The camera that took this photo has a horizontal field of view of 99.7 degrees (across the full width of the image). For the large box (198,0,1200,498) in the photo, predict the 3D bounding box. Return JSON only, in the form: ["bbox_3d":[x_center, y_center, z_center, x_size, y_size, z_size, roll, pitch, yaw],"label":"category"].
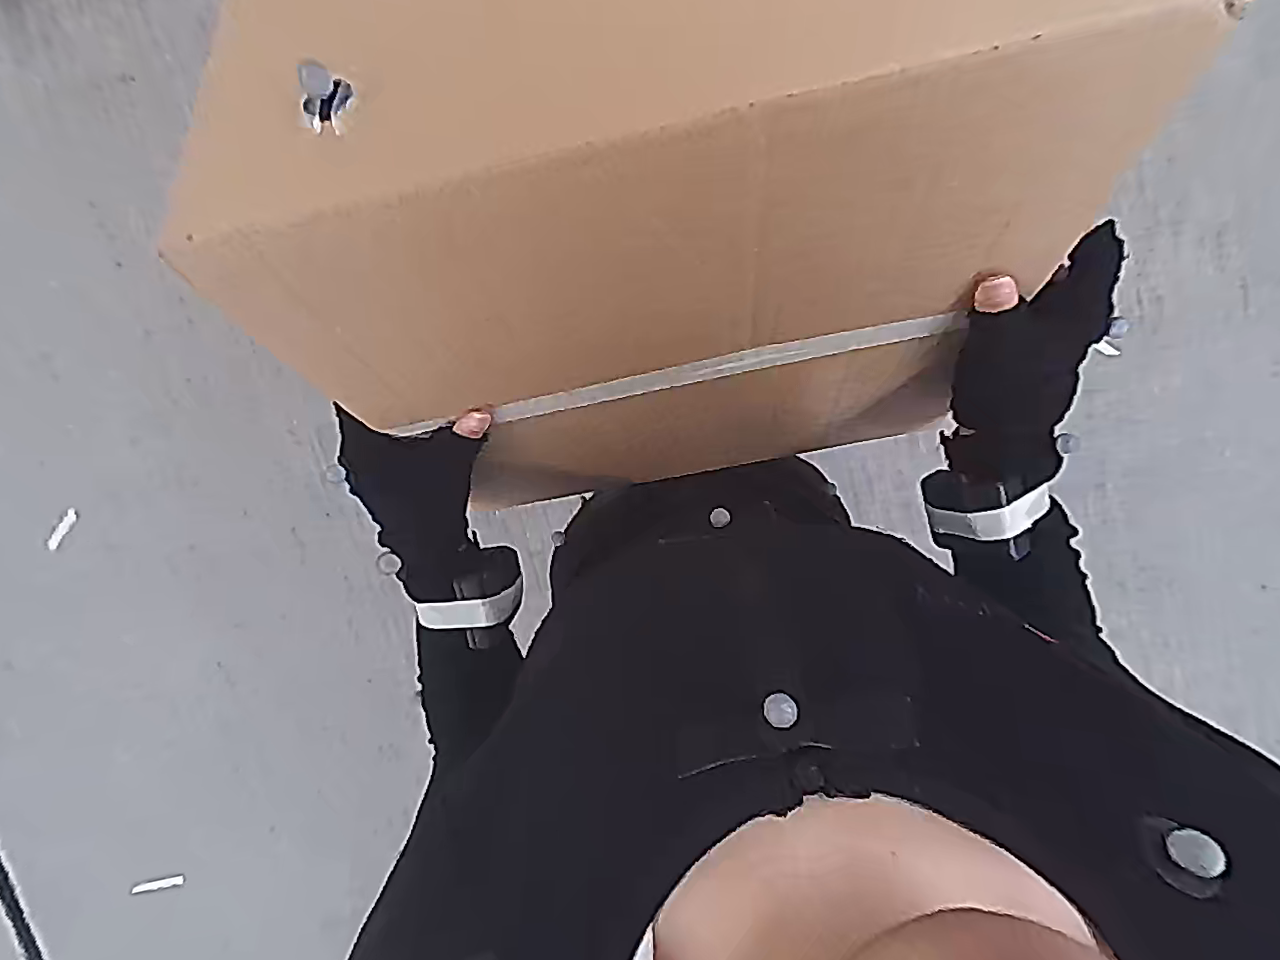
[{"bbox_3d":[0.007,-0.214,0.402,0.408,0.320,0.320,-11,67,3],"label":"large box"}]
